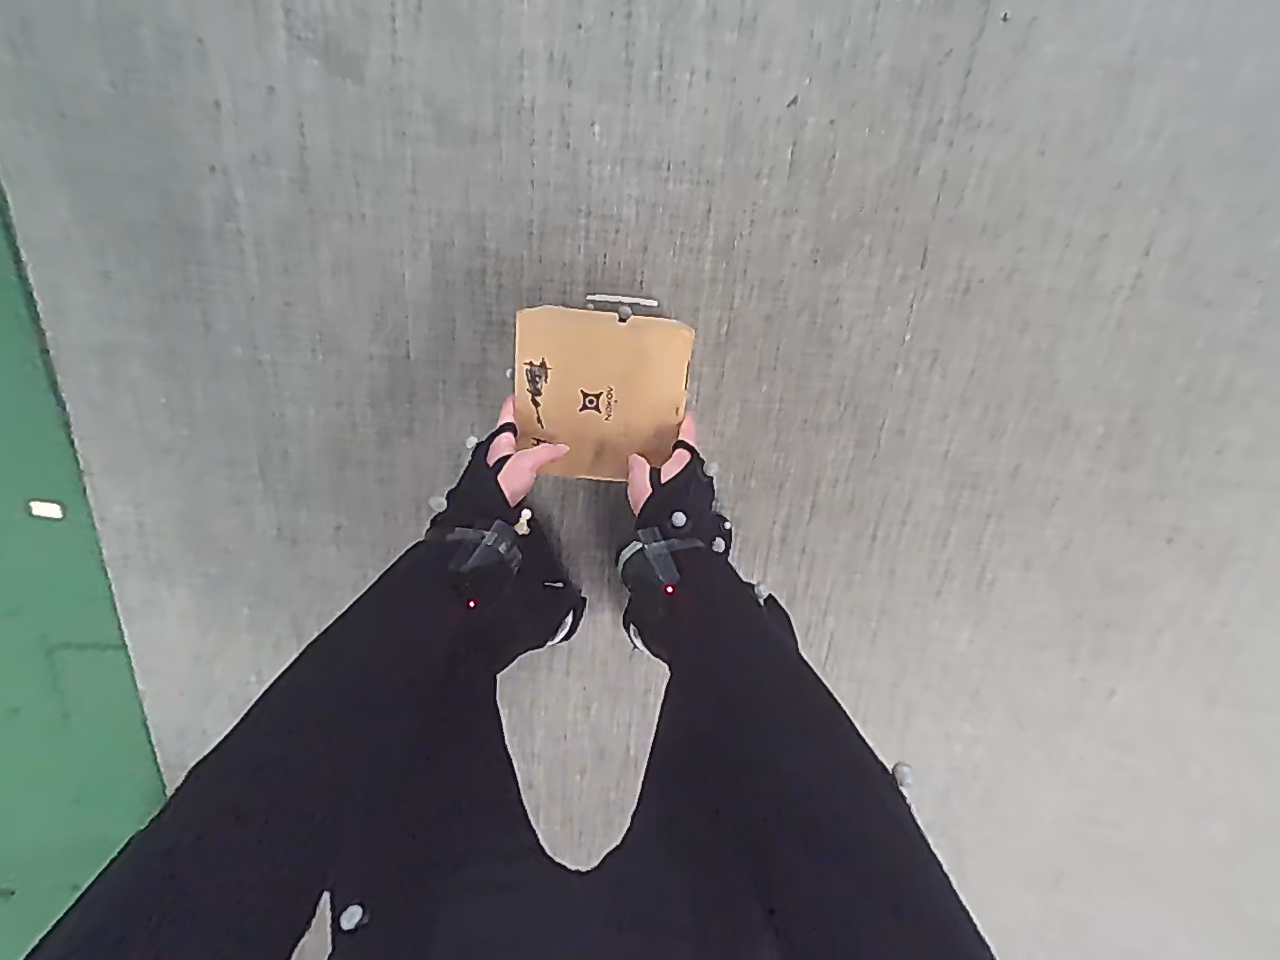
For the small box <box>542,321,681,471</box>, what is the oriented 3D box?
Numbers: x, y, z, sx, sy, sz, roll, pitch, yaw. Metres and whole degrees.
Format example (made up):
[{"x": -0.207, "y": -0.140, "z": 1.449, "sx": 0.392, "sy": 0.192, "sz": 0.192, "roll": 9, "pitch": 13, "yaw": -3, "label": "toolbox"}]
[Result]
[{"x": -0.040, "y": -0.129, "z": 0.775, "sx": 0.168, "sy": 0.176, "sz": 0.179, "roll": 7, "pitch": 109, "yaw": -1, "label": "small box"}]
